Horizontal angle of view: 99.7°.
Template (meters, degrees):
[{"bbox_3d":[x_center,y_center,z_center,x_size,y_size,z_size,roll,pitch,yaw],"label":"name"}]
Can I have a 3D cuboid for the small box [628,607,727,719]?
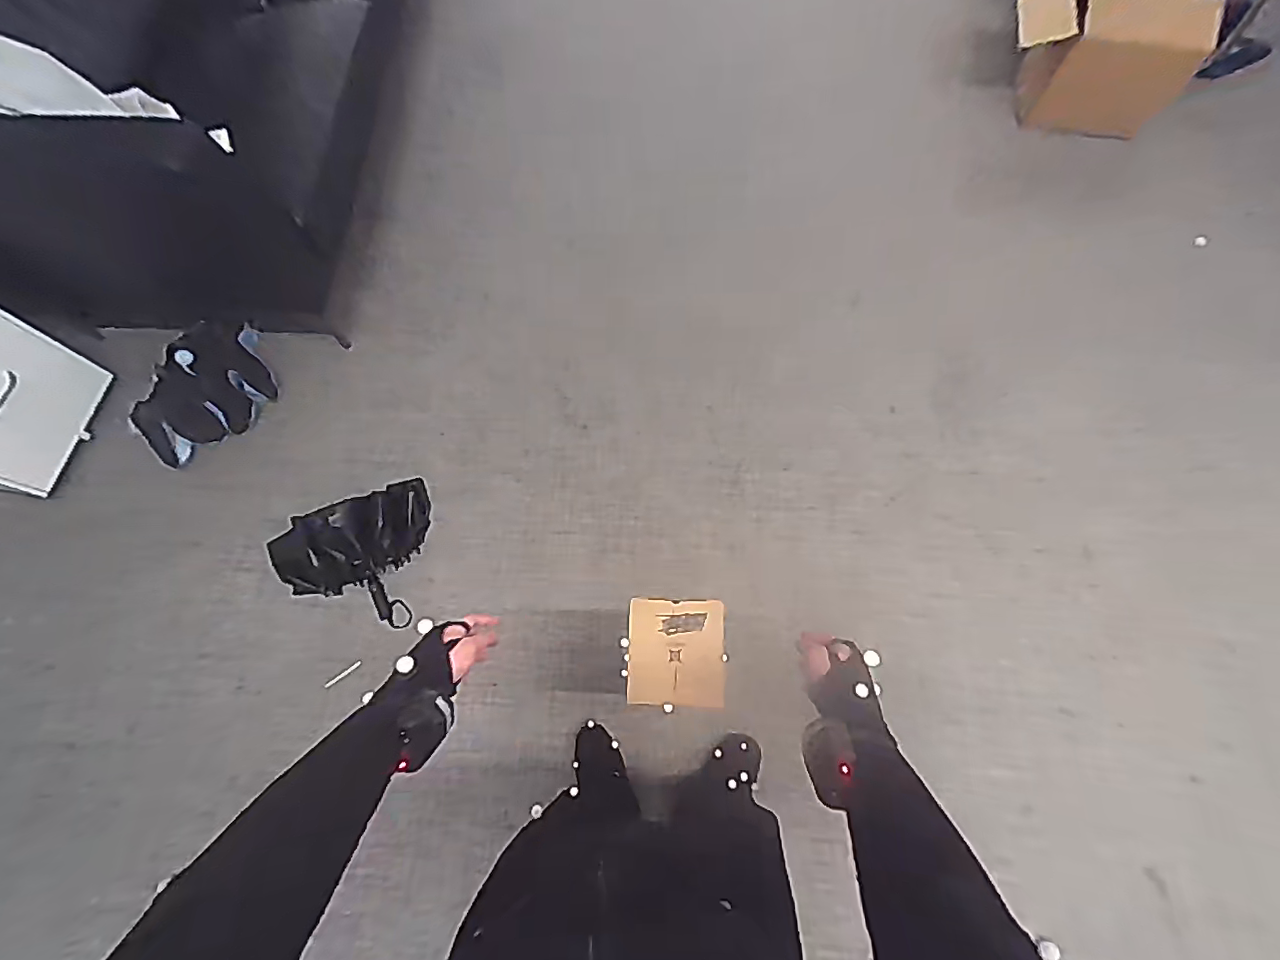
[{"bbox_3d":[0.063,0.333,0.983,0.168,0.176,0.179,2,70,1],"label":"small box"}]
